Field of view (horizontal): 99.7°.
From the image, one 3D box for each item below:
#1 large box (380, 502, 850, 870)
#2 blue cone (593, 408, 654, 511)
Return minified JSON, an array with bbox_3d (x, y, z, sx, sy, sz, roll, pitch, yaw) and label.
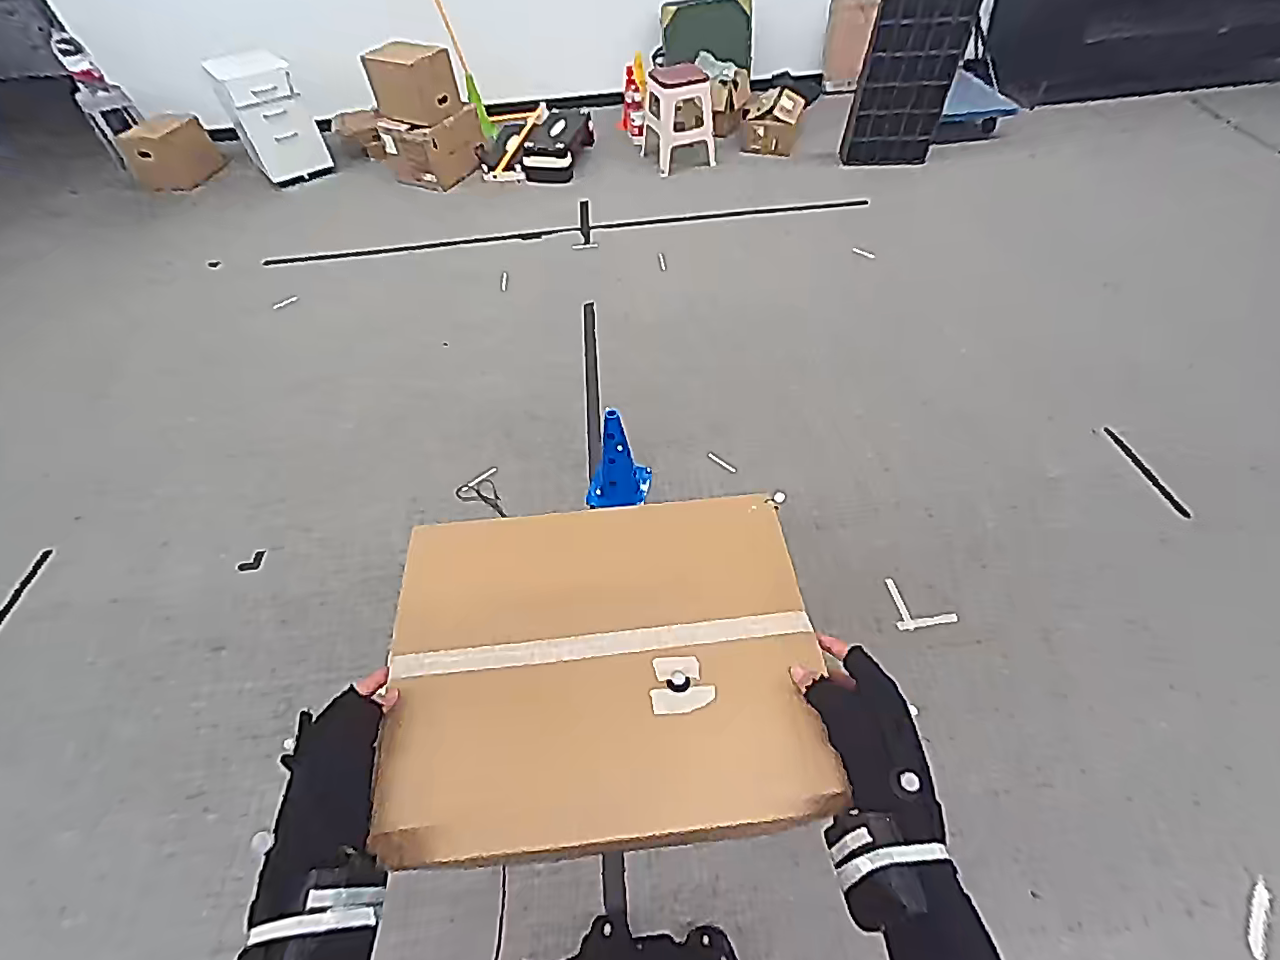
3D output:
[{"bbox_3d":[-0.031,0.255,0.654,0.408,0.320,0.320,-5,54,-3],"label":"large box"},{"bbox_3d":[-0.065,-0.080,1.760,0.193,0.380,0.192,12,53,12],"label":"blue cone"}]
